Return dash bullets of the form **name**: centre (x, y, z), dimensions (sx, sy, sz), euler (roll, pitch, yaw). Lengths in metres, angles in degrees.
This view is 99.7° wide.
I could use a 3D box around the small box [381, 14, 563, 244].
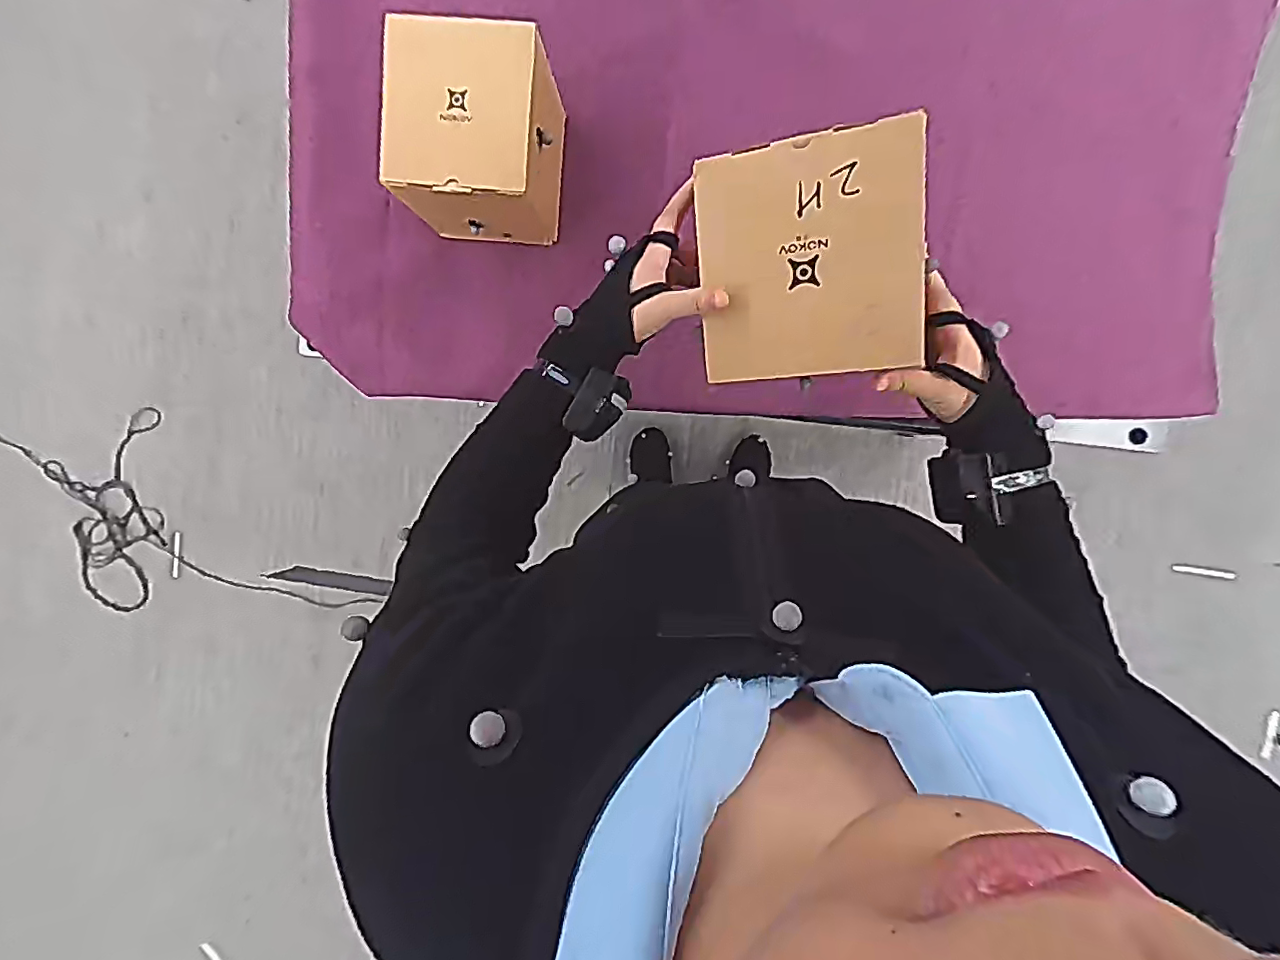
- **small box**: centre (-0.193, -0.412, 0.662), dimensions (0.168, 0.176, 0.179), euler (5, 97, 2)
